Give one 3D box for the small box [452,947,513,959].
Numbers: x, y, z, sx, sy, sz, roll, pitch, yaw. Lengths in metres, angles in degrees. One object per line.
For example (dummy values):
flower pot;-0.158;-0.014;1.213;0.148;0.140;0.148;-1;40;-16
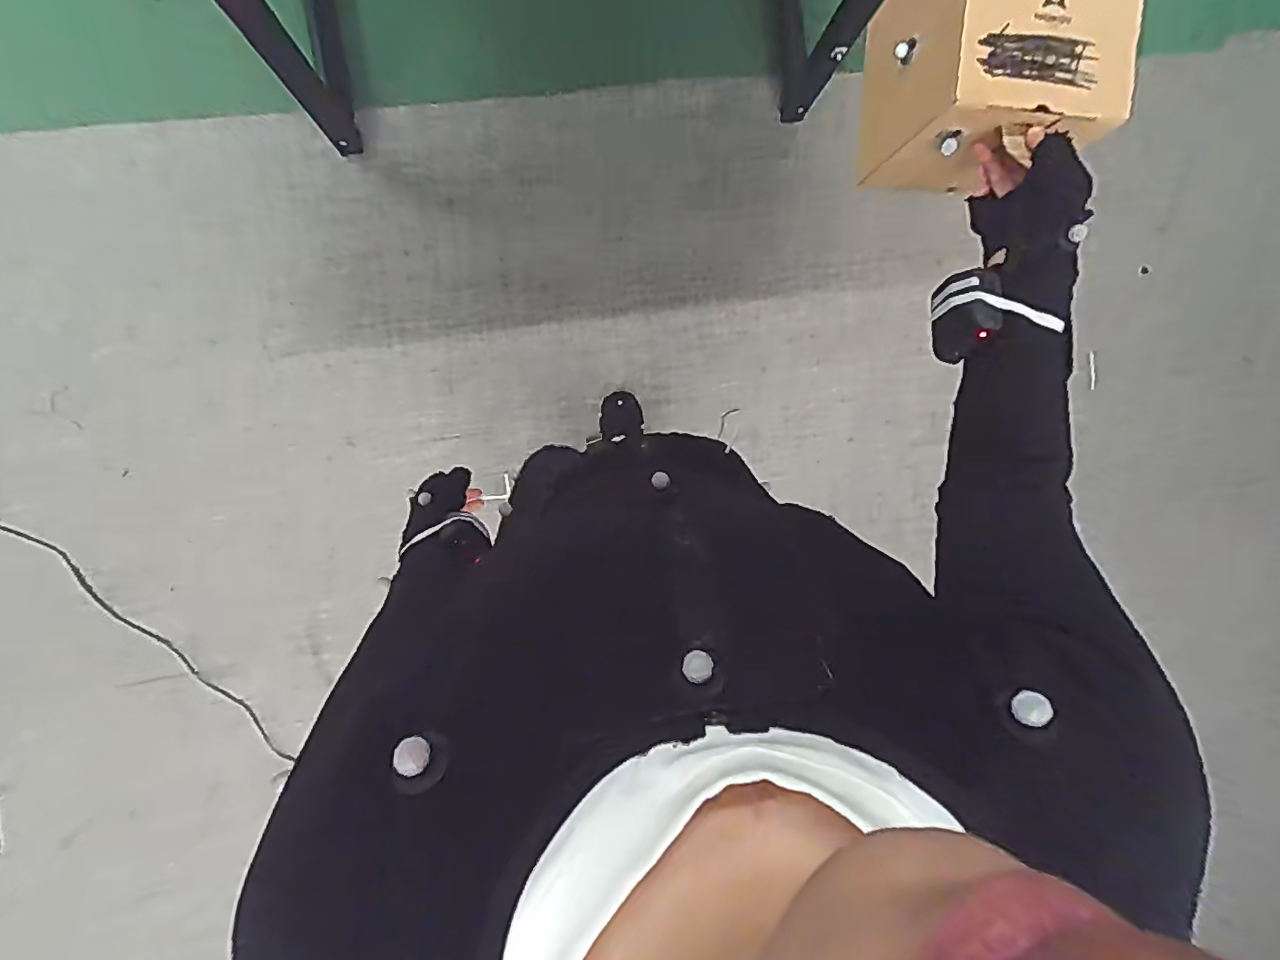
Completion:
small box;-0.431;1.410;1.454;0.168;0.176;0.179;-9;94;-3
